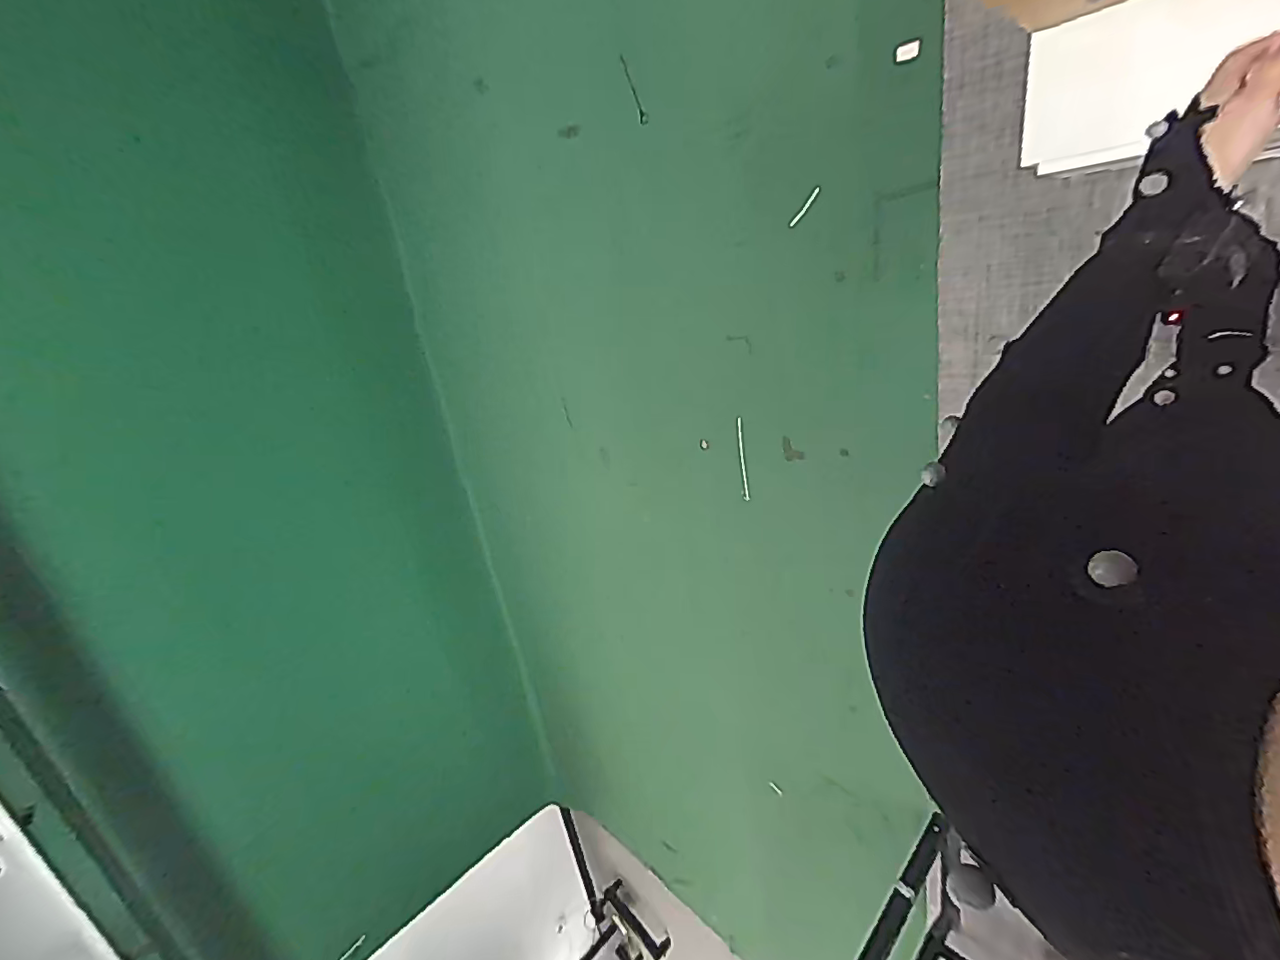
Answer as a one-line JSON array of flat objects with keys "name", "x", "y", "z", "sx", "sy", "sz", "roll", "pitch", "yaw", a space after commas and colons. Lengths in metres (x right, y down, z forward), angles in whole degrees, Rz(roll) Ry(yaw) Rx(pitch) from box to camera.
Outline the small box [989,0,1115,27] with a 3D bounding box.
[{"name": "small box", "x": 0.441, "y": -0.549, "z": 0.485, "sx": 0.179, "sy": 0.176, "sz": 0.168, "roll": 11, "pitch": 119, "yaw": 45}]
